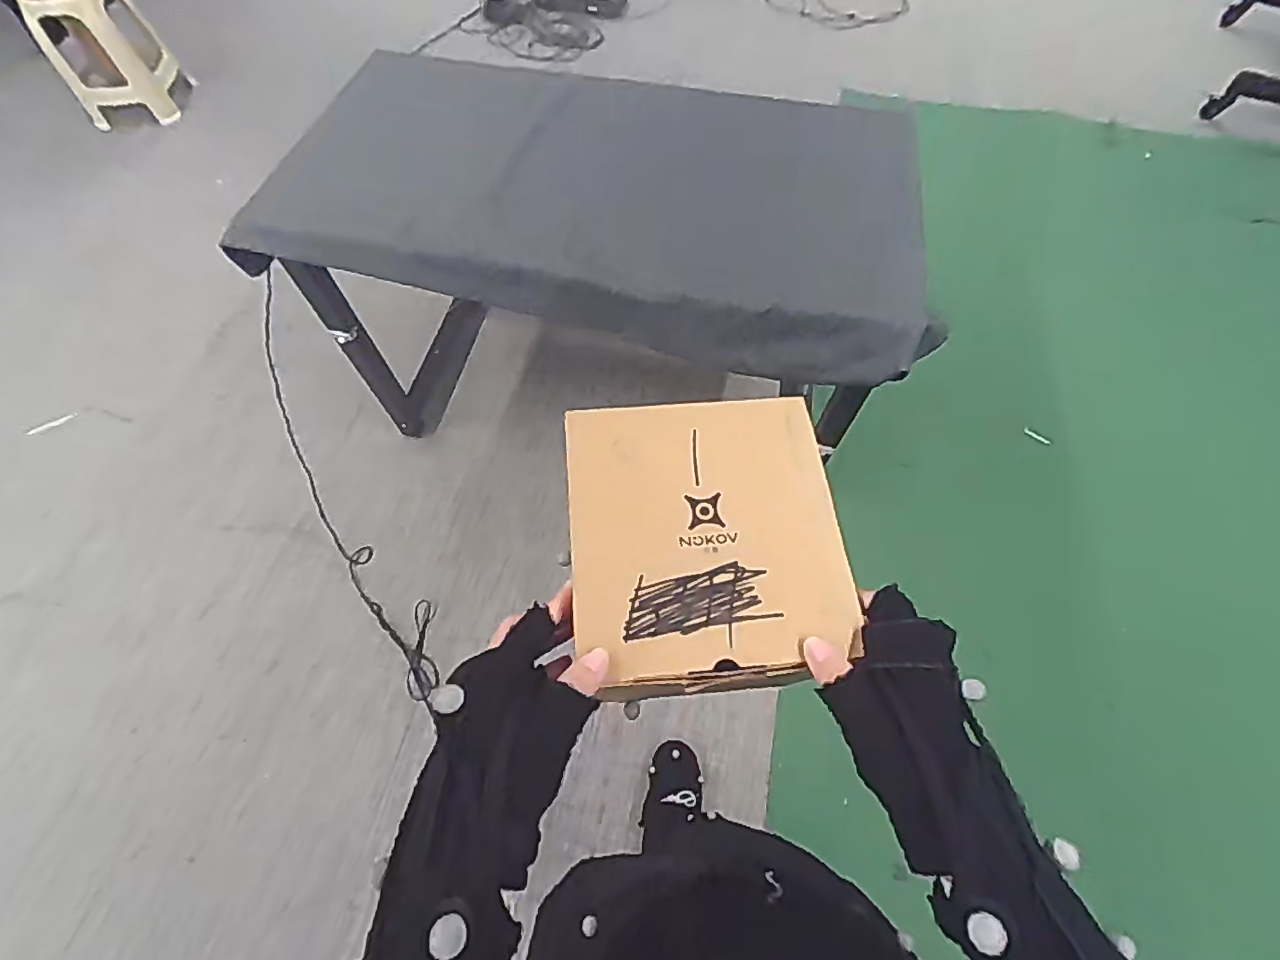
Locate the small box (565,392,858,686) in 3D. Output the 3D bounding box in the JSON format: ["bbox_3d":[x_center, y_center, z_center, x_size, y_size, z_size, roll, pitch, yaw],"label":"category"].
[{"bbox_3d":[0.036,0.056,0.408,0.168,0.176,0.179,-4,65,-4],"label":"small box"}]
